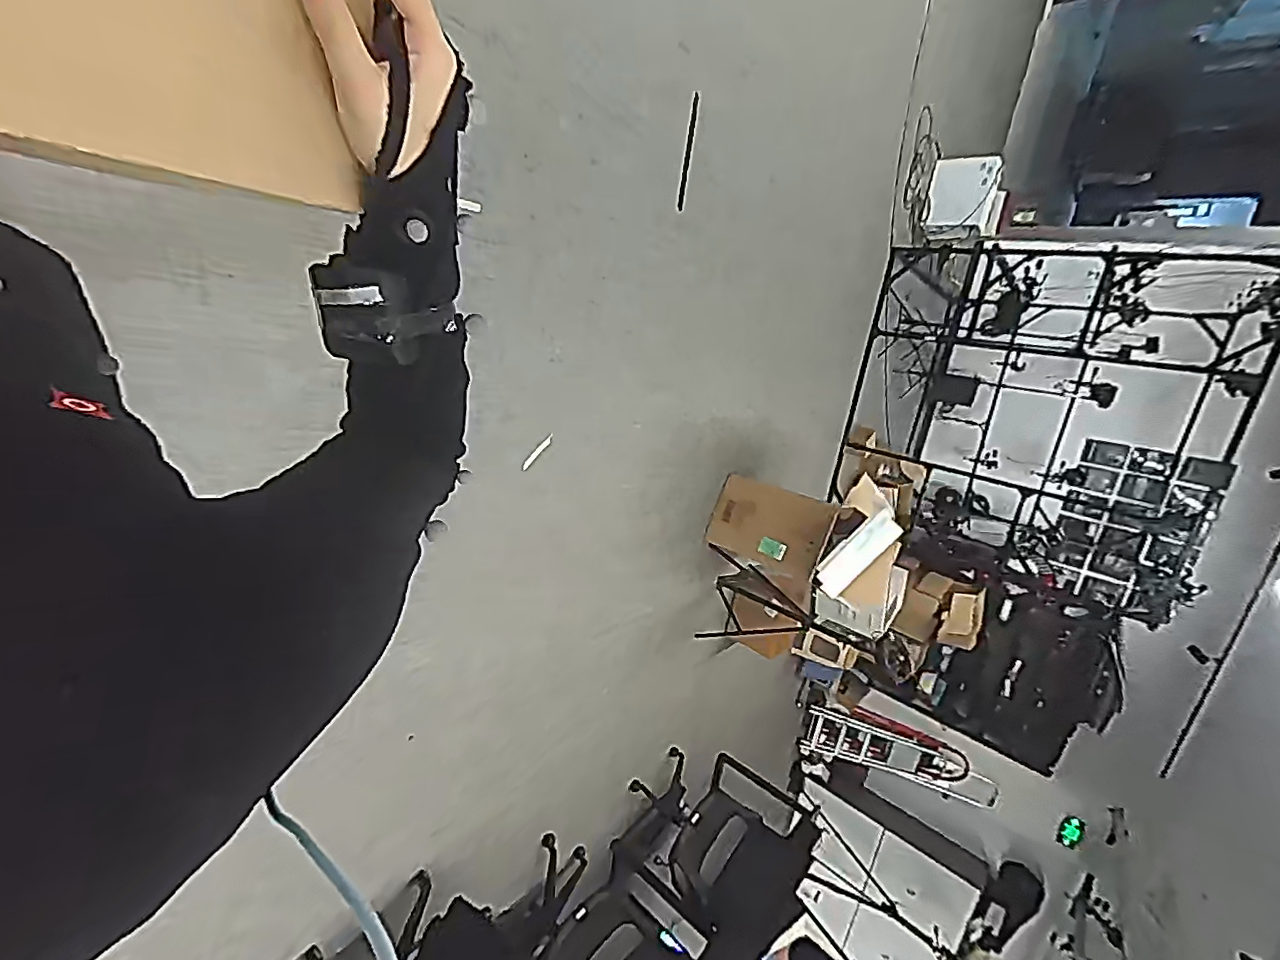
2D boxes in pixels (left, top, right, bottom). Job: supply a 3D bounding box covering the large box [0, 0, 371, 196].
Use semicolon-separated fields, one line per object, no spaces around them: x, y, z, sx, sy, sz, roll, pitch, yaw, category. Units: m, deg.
-0.374;-0.326;0.199;0.408;0.320;0.320;-16;123;-53;large box
